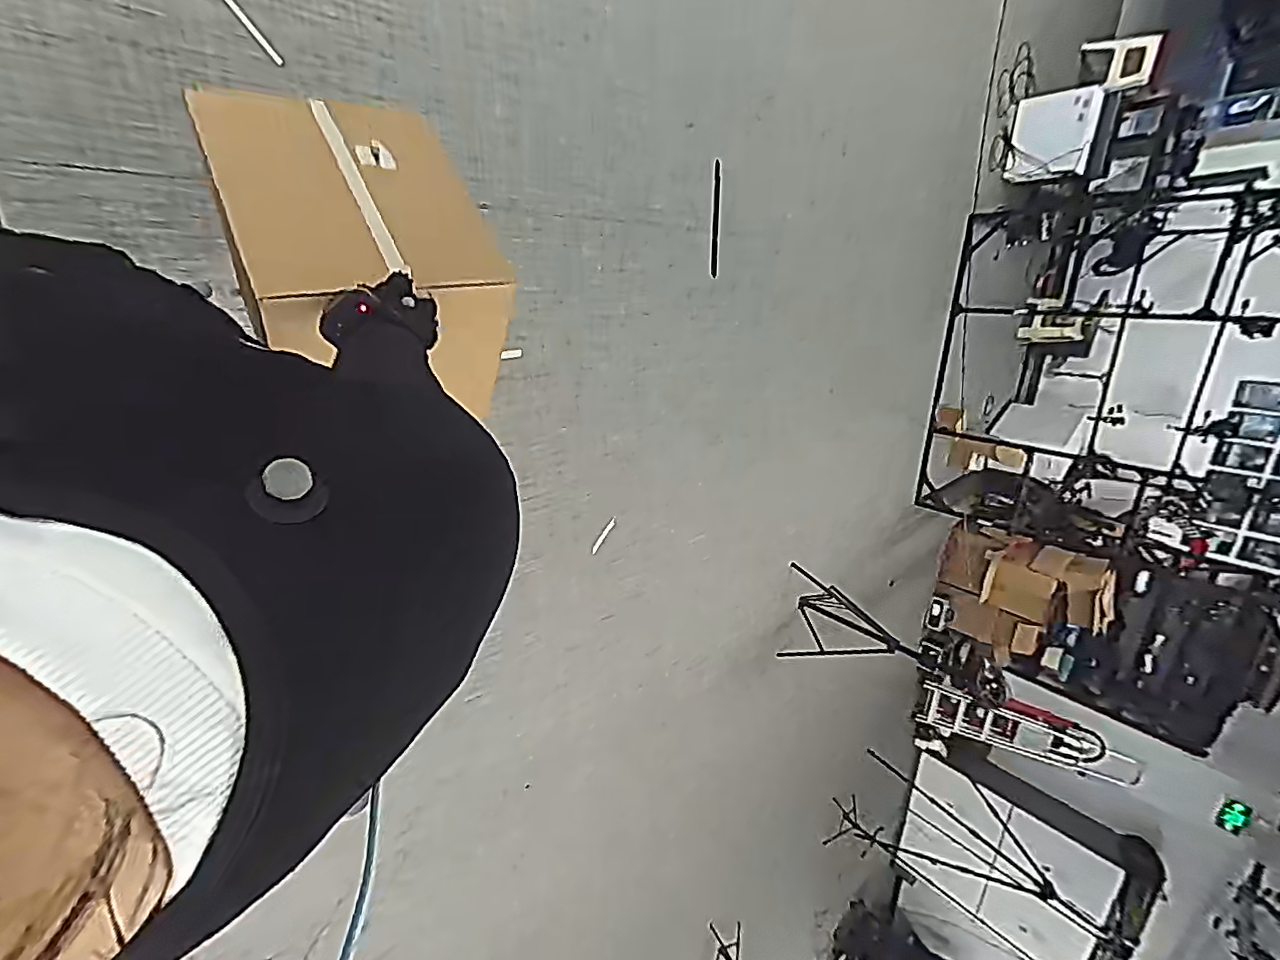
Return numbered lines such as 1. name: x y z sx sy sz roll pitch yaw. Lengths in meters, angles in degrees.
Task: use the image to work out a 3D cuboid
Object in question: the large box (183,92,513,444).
1. large box: -0.450 -0.327 0.867 0.320 0.408 0.320 -18 158 -34
